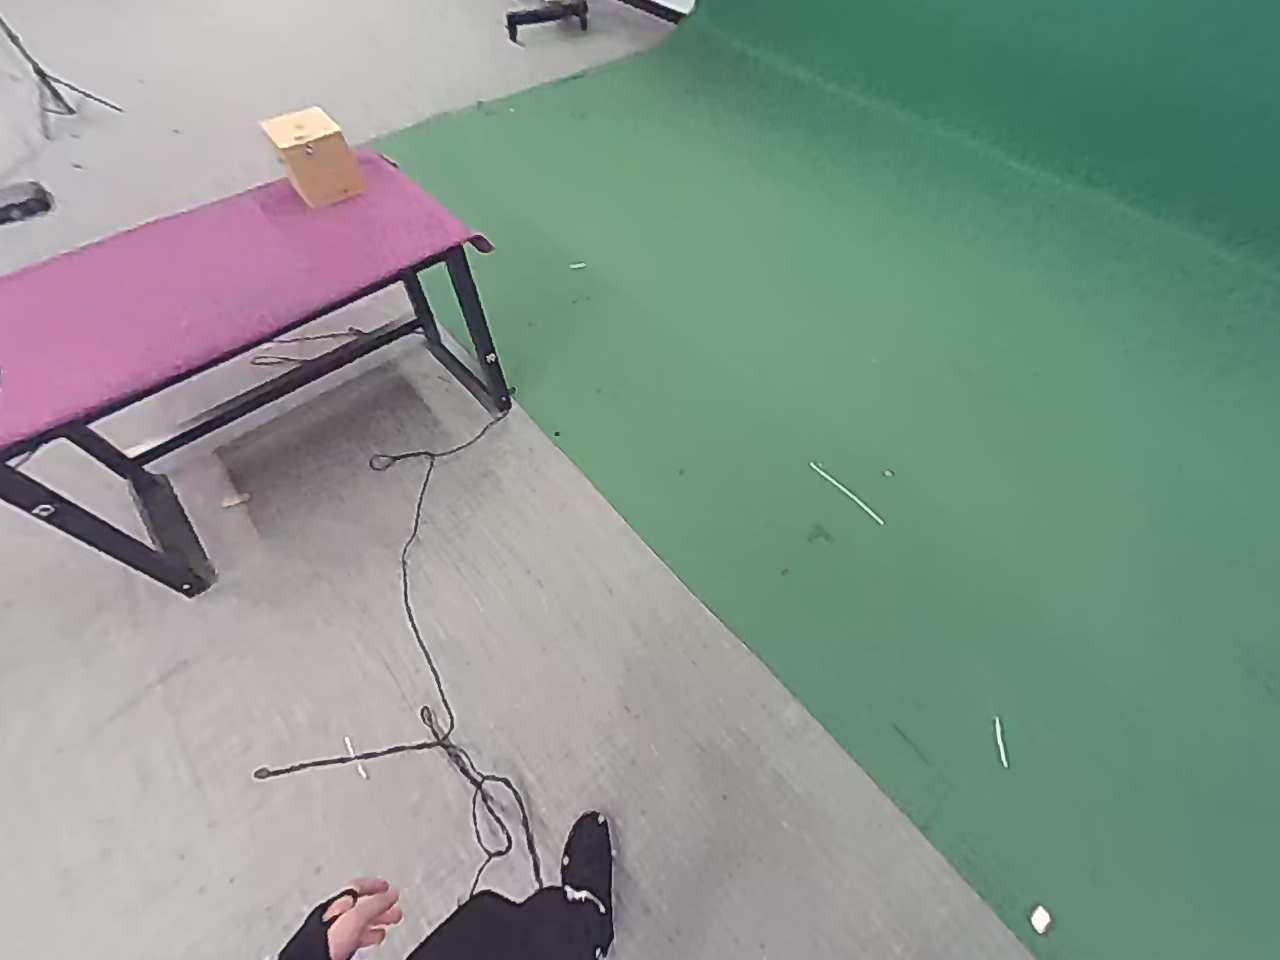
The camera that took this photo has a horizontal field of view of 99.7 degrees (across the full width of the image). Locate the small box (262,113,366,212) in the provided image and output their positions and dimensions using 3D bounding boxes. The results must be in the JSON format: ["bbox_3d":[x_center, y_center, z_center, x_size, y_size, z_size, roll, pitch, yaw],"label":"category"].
[{"bbox_3d":[-0.911,-0.891,1.522,0.168,0.176,0.179,-34,62,-19],"label":"small box"}]
